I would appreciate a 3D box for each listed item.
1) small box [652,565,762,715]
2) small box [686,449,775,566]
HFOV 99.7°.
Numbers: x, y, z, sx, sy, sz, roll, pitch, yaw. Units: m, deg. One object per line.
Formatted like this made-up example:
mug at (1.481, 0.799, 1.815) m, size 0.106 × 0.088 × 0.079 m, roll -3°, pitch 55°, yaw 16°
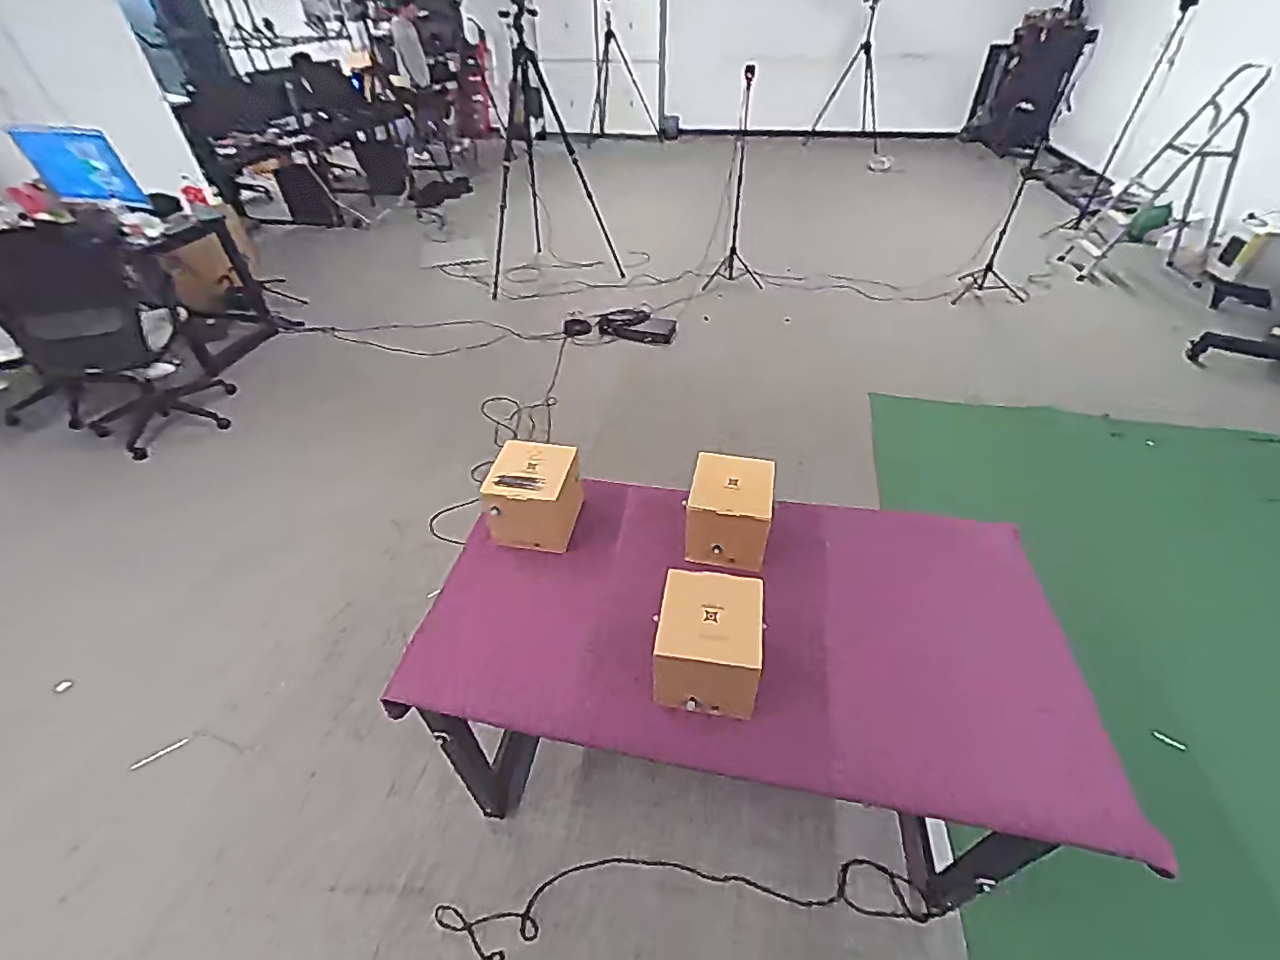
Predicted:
small box at (0.117, 0.275, 0.939) m, size 0.168 × 0.176 × 0.179 m, roll 5°, pitch 42°, yaw 10°
small box at (0.194, 0.059, 1.170) m, size 0.168 × 0.176 × 0.179 m, roll 8°, pitch 46°, yaw 10°
